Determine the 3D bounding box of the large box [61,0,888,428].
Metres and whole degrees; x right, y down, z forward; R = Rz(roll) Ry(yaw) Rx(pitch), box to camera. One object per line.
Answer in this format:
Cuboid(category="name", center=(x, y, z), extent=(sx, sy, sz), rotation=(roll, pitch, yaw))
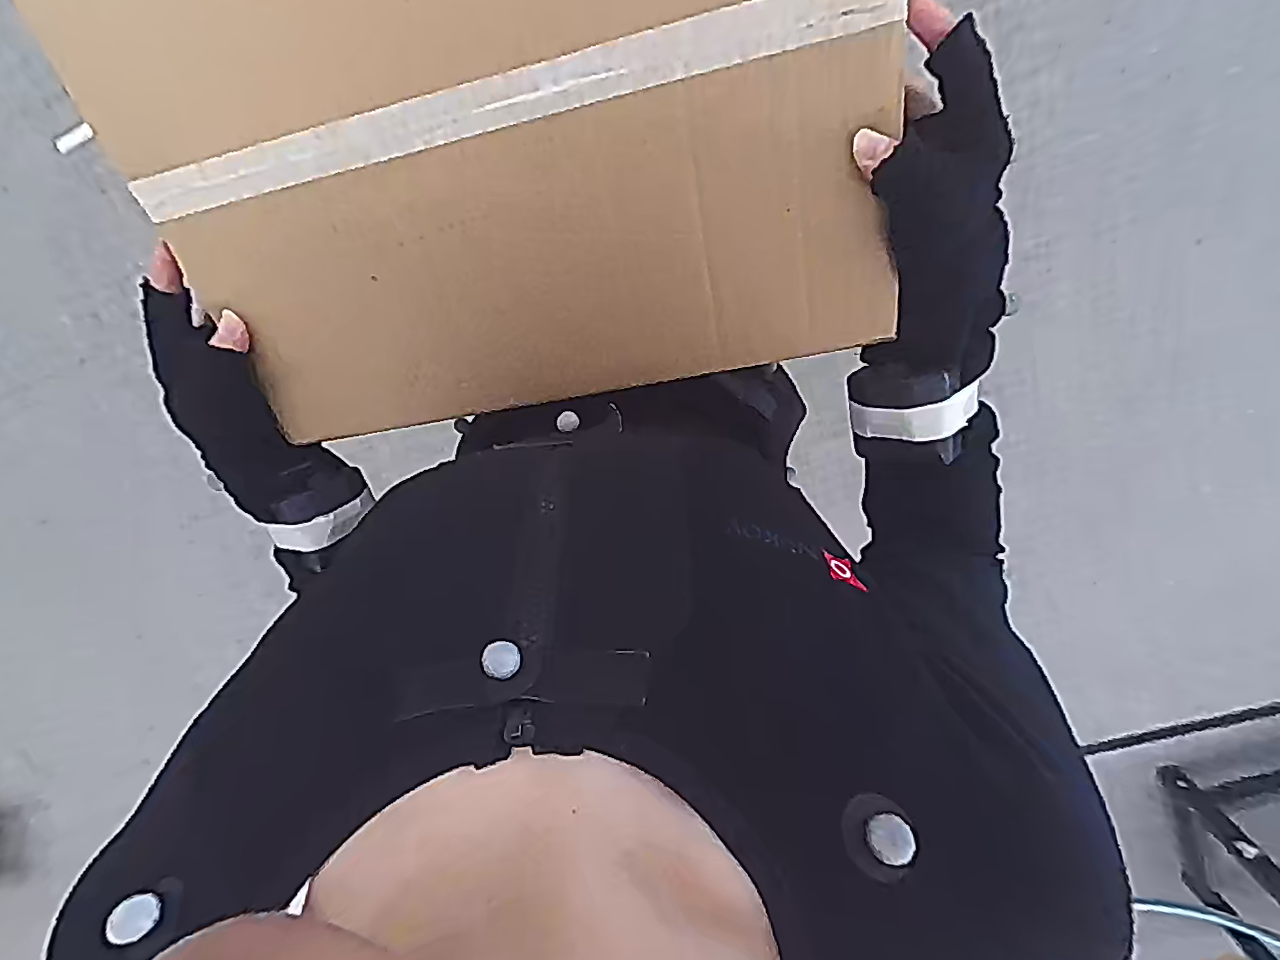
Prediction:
Cuboid(category="large box", center=(-0.070, -0.270, 0.408), extent=(0.408, 0.320, 0.320), rotation=(-8, 121, 10))
